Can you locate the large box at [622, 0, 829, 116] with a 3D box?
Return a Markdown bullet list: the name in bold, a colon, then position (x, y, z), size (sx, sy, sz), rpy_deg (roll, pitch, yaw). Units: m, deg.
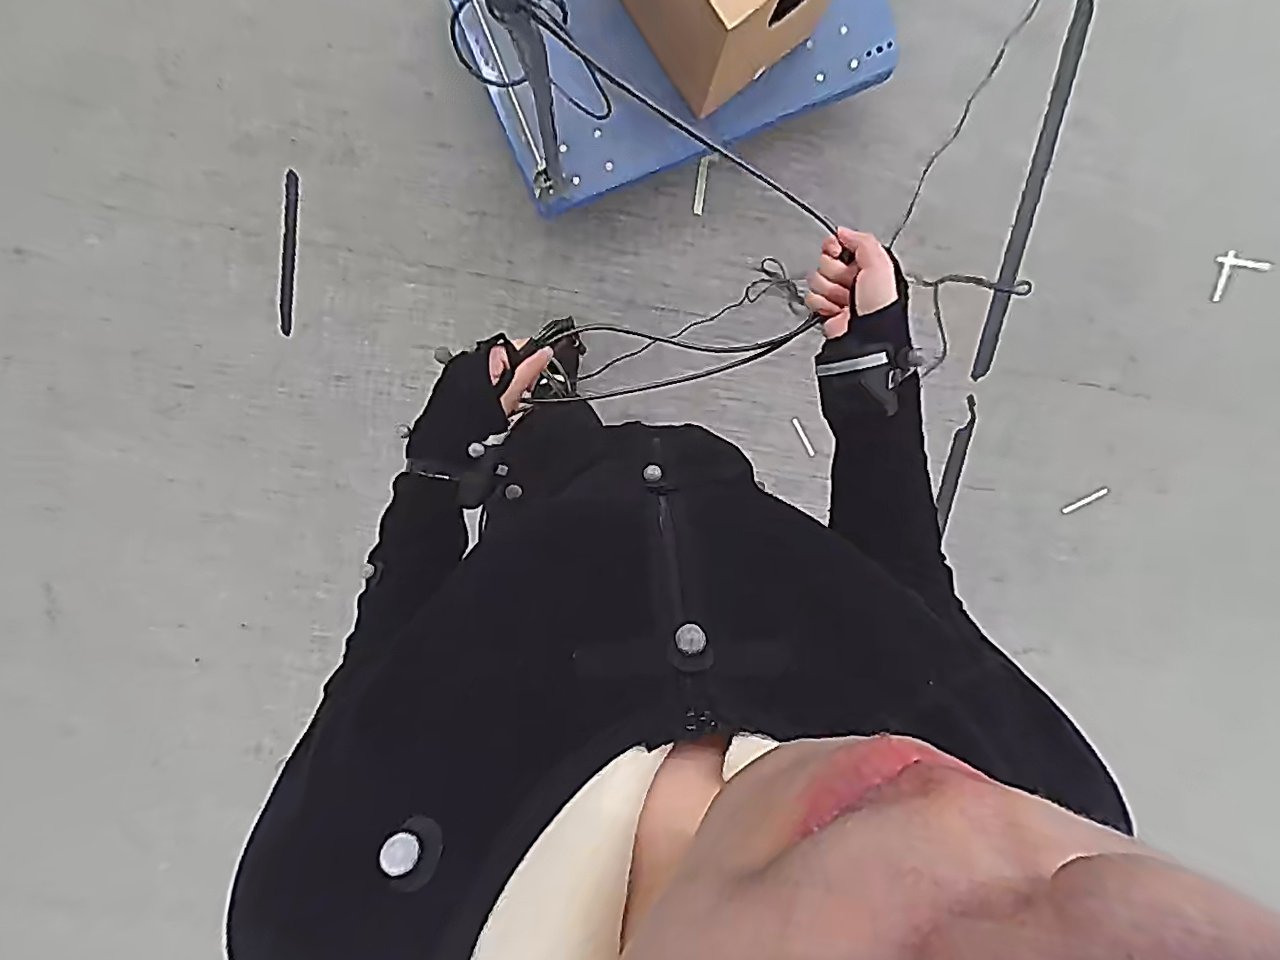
- **large box**: position (0.140, -1.004, 0.988), size (0.320, 0.320, 0.408), rpy_deg (-37, 101, 4)
